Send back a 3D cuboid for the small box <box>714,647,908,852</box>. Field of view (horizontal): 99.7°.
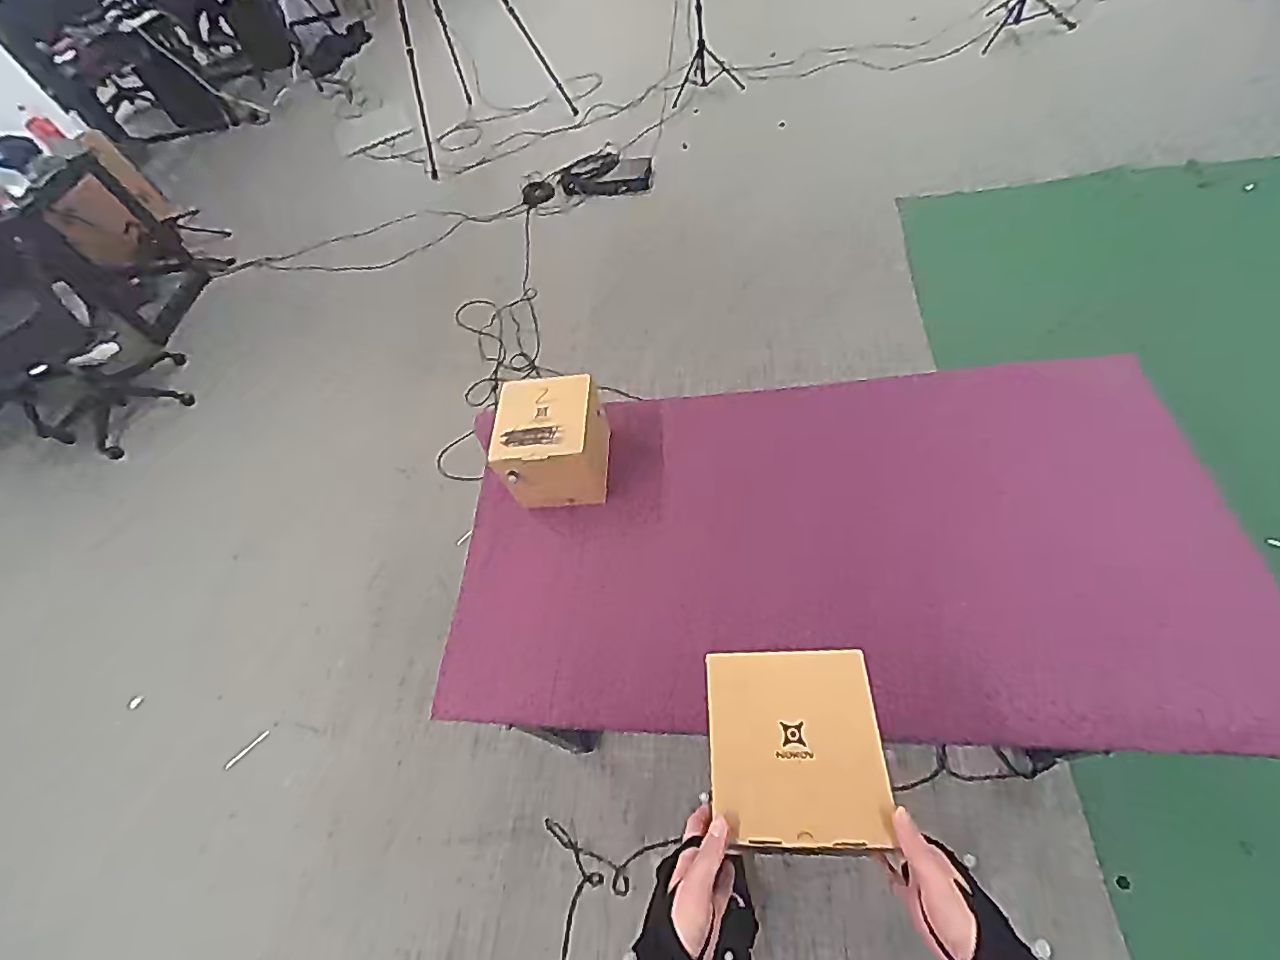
[{"bbox_3d":[0.166,0.295,0.589,0.168,0.176,0.179,-4,55,8],"label":"small box"}]
